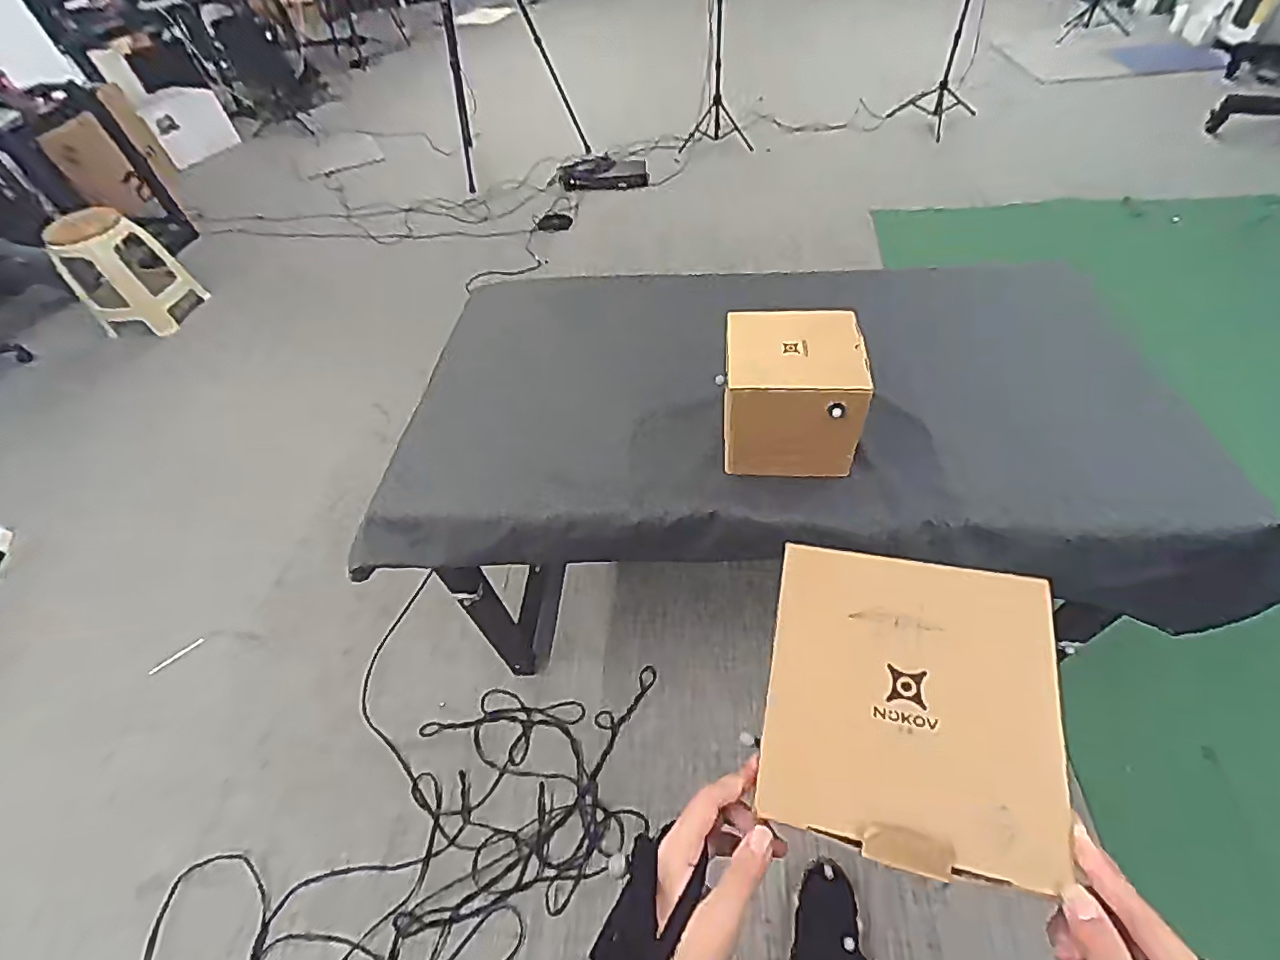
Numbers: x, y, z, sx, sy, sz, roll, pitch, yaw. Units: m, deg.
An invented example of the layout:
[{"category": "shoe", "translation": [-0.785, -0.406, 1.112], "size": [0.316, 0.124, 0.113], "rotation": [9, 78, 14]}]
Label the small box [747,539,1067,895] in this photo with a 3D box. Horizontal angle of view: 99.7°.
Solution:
[{"category": "small box", "translation": [0.176, 0.164, 0.402], "size": [0.168, 0.176, 0.179], "rotation": [7, 64, 15]}]

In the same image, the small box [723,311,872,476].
[{"category": "small box", "translation": [0.207, -0.120, 0.767], "size": [0.179, 0.176, 0.168], "rotation": [1, 51, 7]}]
